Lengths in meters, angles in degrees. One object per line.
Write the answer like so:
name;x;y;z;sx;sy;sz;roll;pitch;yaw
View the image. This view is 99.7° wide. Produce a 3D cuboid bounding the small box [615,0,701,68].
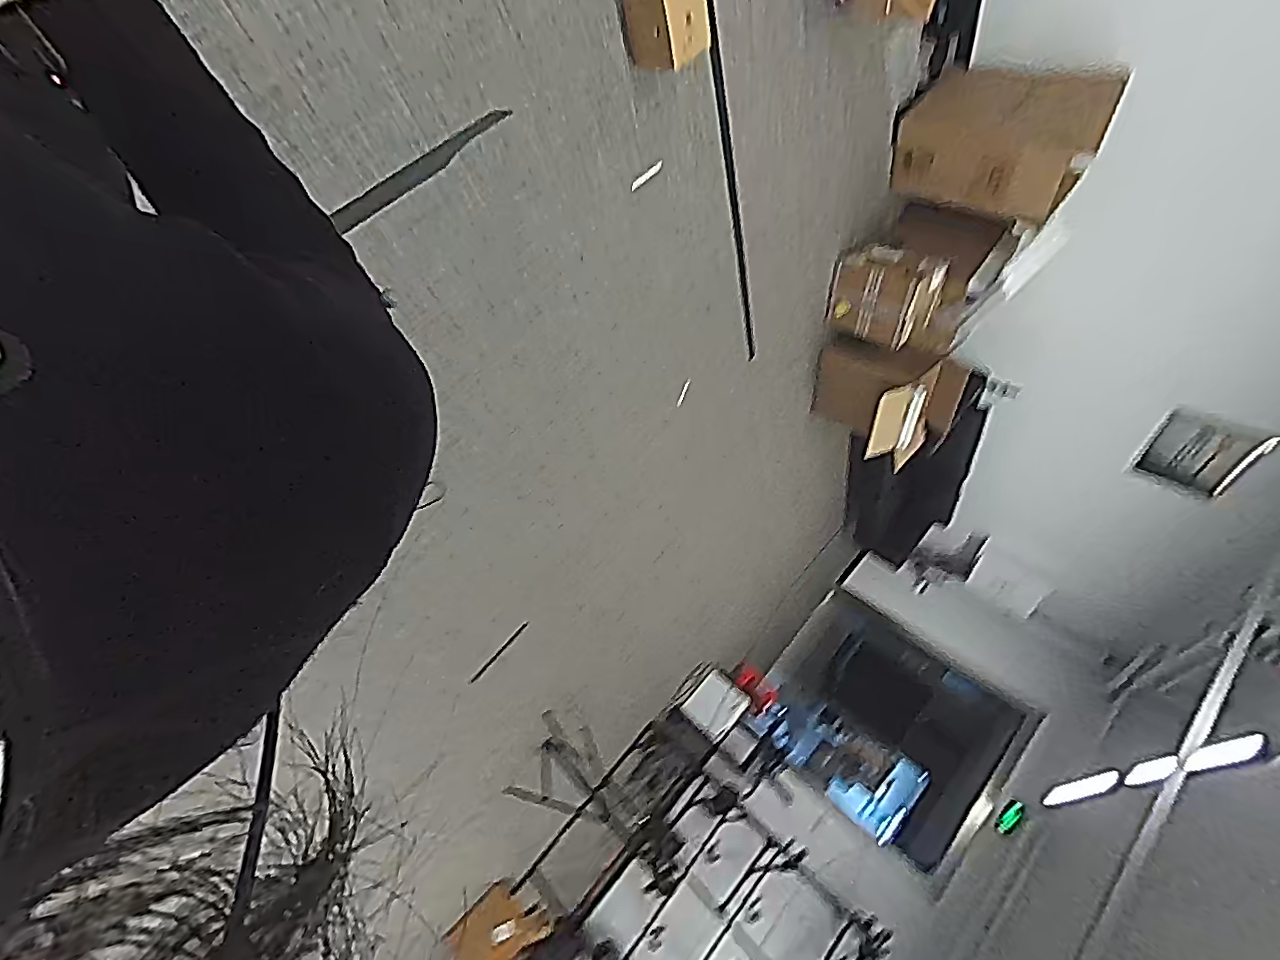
small box;0.050;-1.327;1.559;0.168;0.176;0.179;-46;146;-16
